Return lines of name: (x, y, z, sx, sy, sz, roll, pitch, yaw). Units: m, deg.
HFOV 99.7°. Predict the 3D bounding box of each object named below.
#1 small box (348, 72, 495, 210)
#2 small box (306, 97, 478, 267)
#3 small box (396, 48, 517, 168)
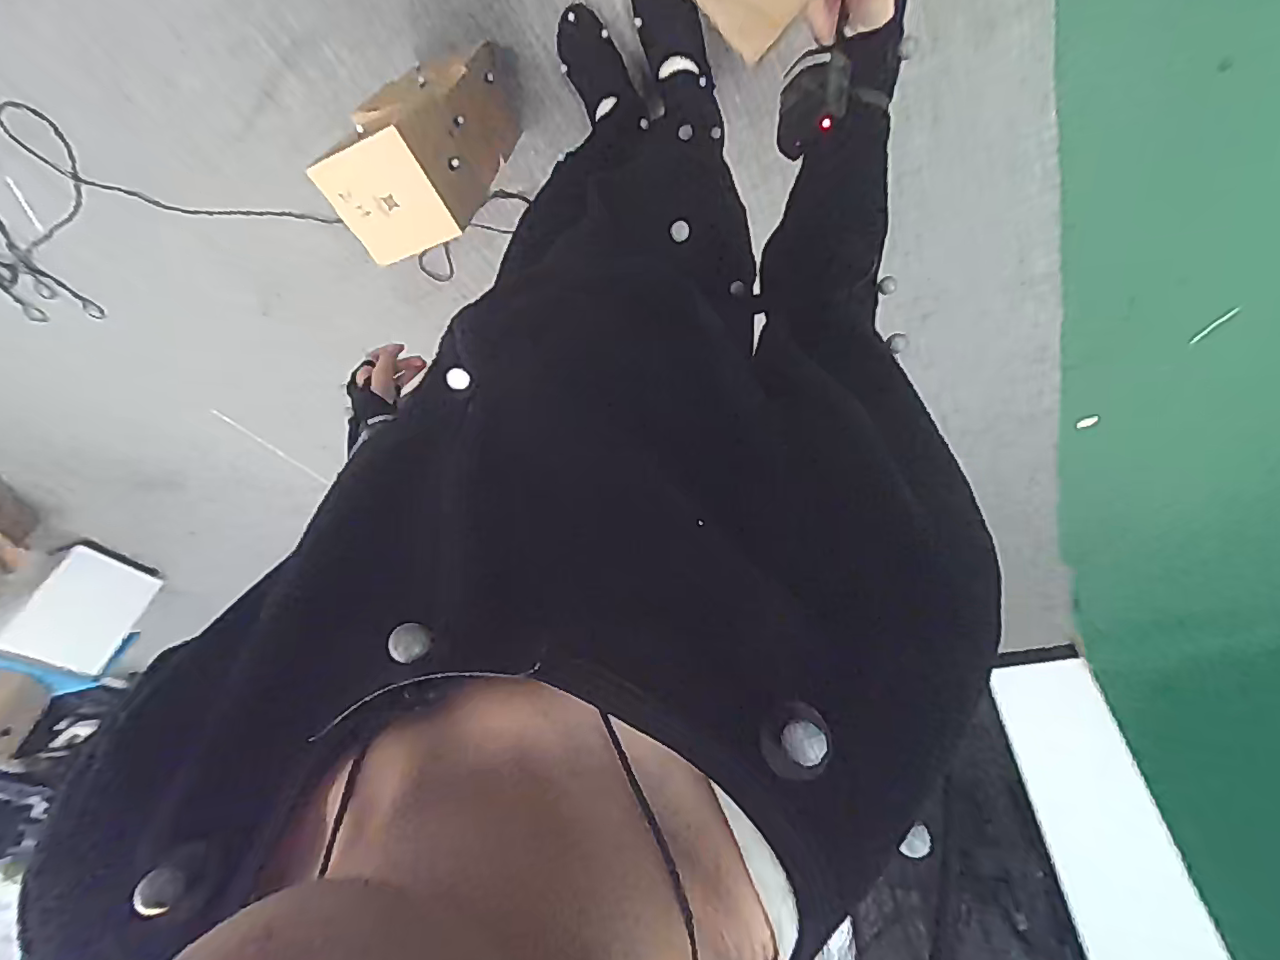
small box: (-0.385, -0.611, 0.991, 0.168, 0.176, 0.179, -2, 139, 9)
small box: (-0.386, -0.486, 0.883, 0.179, 0.176, 0.168, -11, 137, 19)
small box: (-0.369, -0.738, 1.090, 0.168, 0.176, 0.179, -6, 140, 13)
